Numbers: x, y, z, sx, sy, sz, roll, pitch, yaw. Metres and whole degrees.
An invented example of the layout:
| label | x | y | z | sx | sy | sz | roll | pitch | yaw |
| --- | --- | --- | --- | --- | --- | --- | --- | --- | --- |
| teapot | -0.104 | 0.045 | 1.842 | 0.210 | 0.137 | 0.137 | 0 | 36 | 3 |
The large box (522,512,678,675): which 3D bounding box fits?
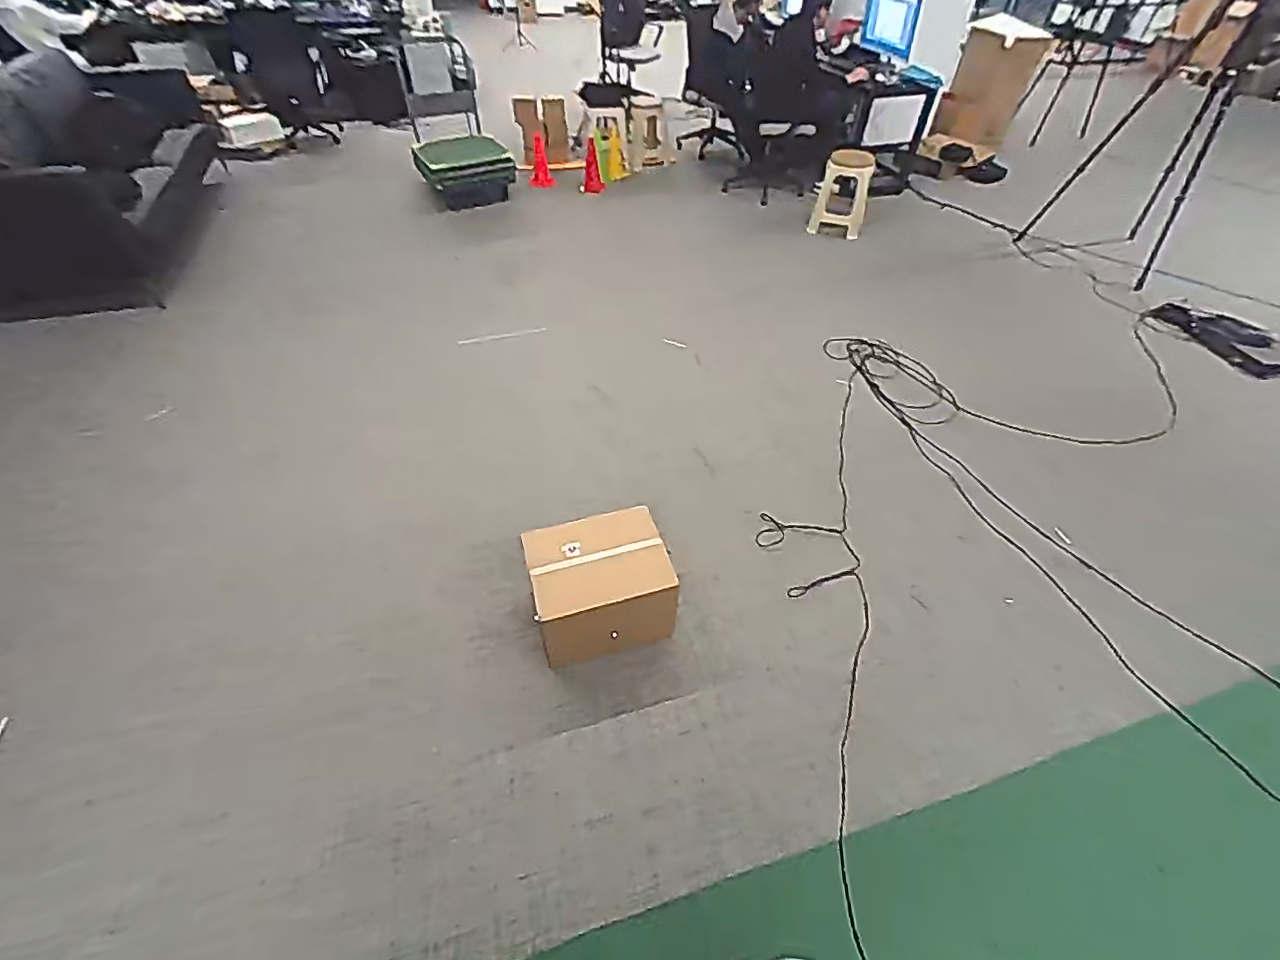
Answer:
| label | x | y | z | sx | sy | sz | roll | pitch | yaw |
| --- | --- | --- | --- | --- | --- | --- | --- | --- | --- |
| large box | -0.125 | 0.356 | 1.703 | 0.408 | 0.320 | 0.320 | -14 | 48 | -12 |
